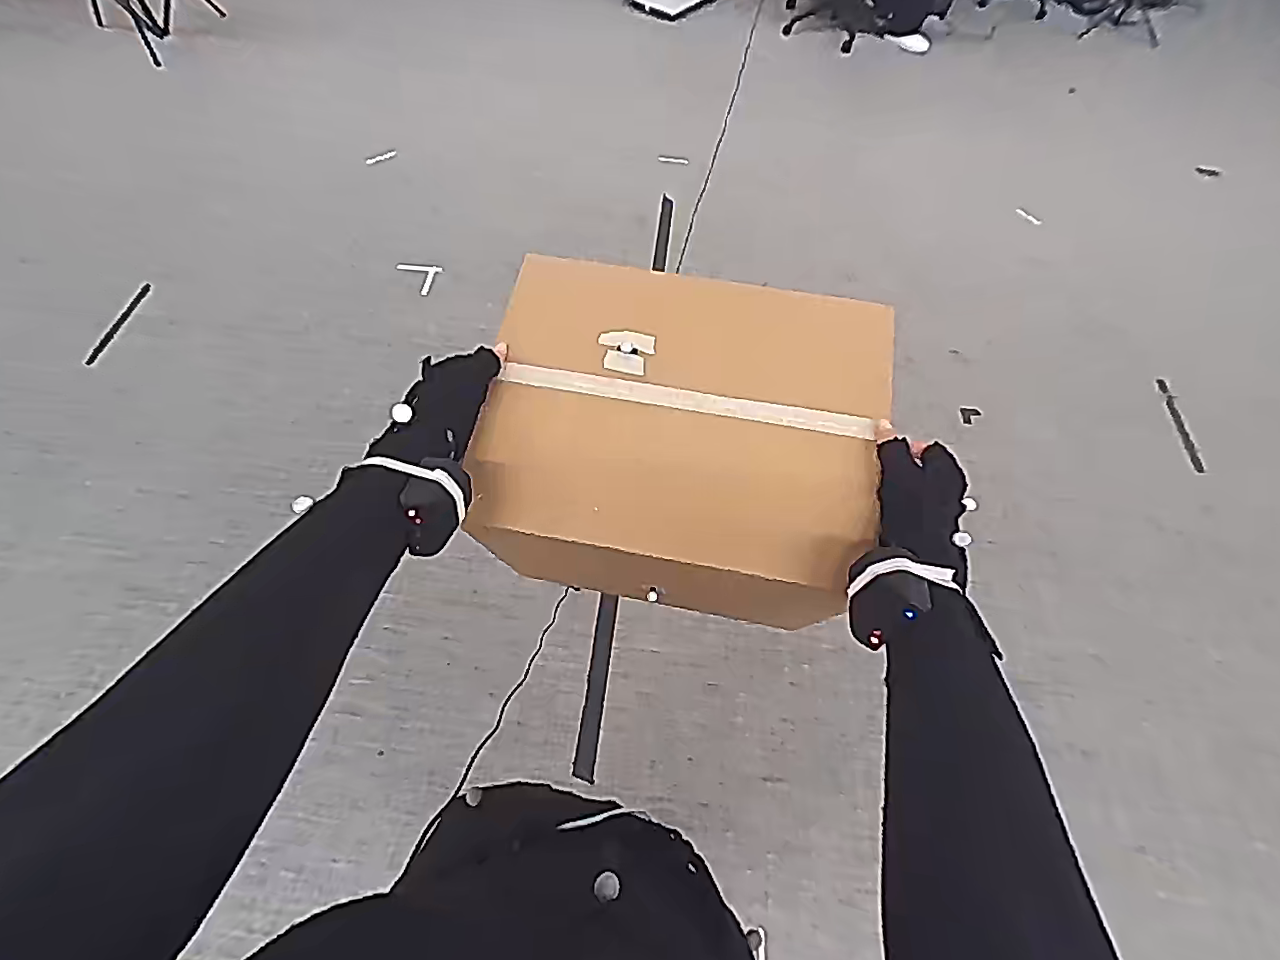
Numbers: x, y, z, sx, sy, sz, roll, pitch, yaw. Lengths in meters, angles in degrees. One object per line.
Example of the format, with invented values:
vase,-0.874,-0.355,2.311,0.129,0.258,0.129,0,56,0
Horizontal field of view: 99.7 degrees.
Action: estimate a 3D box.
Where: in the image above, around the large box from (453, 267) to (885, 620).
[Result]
large box,0.049,-0.022,0.689,0.408,0.320,0.320,10,70,6
